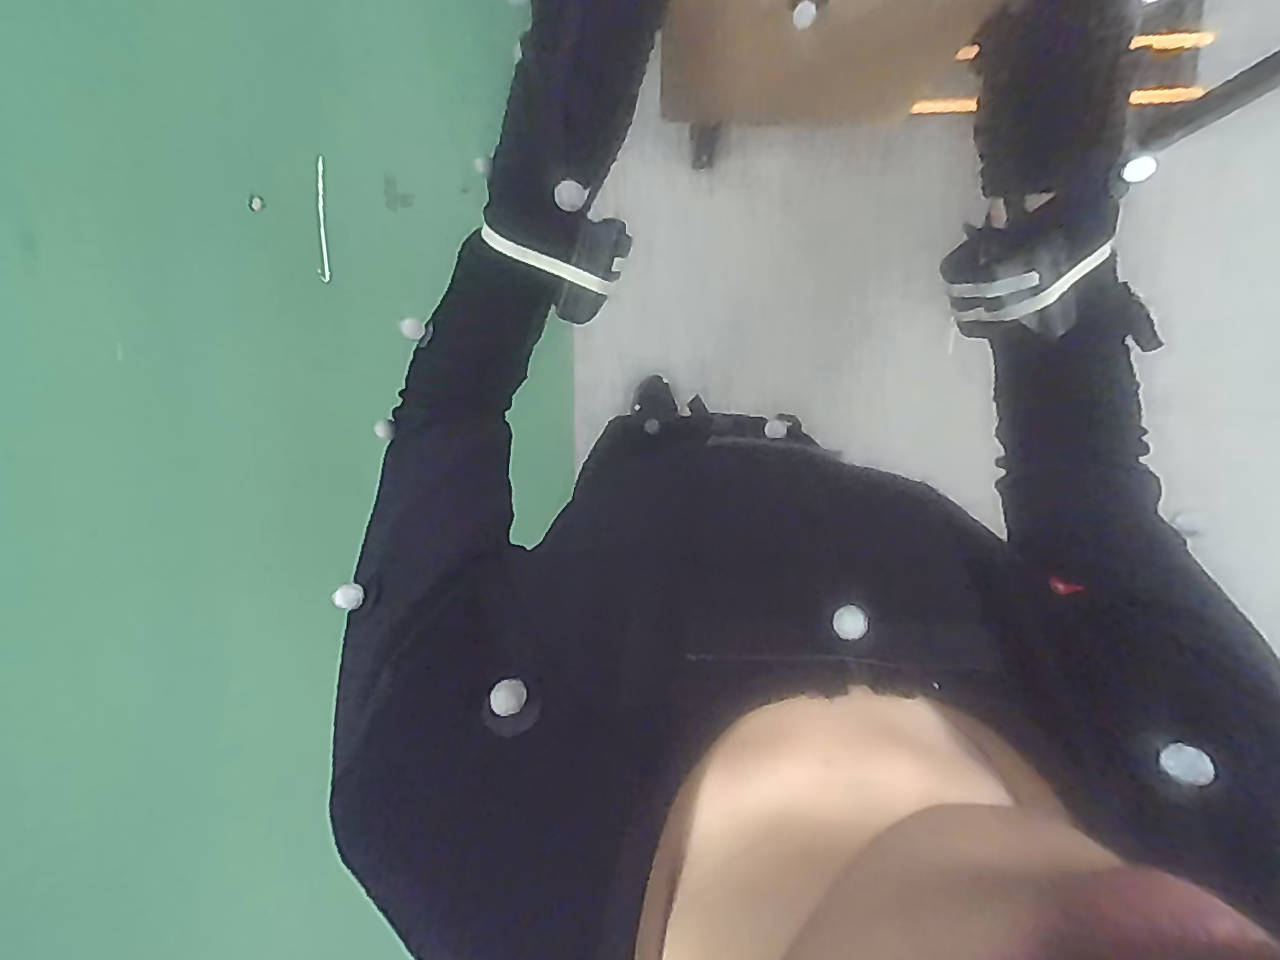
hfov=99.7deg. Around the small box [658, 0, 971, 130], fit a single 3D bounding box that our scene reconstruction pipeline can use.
[{"bbox_3d":[0.101,-0.334,0.316,0.179,0.176,0.168,3,96,1],"label":"small box"}]
